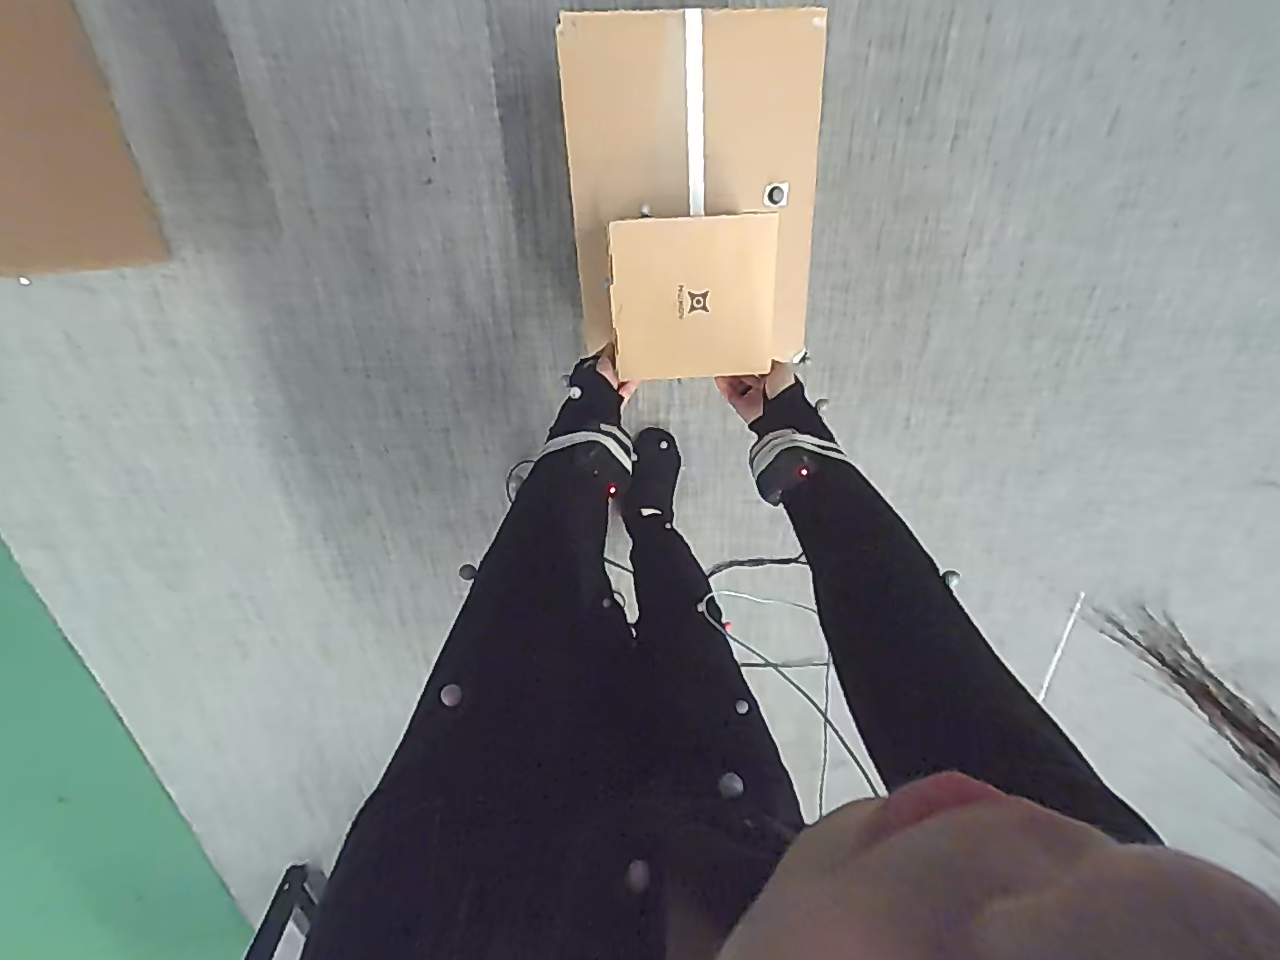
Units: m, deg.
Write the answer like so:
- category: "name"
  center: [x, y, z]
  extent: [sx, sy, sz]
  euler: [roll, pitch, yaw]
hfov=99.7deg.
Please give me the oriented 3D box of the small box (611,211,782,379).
- category: "small box"
  center: [0.056, -0.226, 0.646]
  extent: [0.179, 0.176, 0.168]
  euler: [-3, 116, 0]

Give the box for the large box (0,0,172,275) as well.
- category: "large box"
  center: [-0.956, -0.484, 0.712]
  extent: [0.320, 0.320, 0.408]
  euler: [-4, 115, -2]
